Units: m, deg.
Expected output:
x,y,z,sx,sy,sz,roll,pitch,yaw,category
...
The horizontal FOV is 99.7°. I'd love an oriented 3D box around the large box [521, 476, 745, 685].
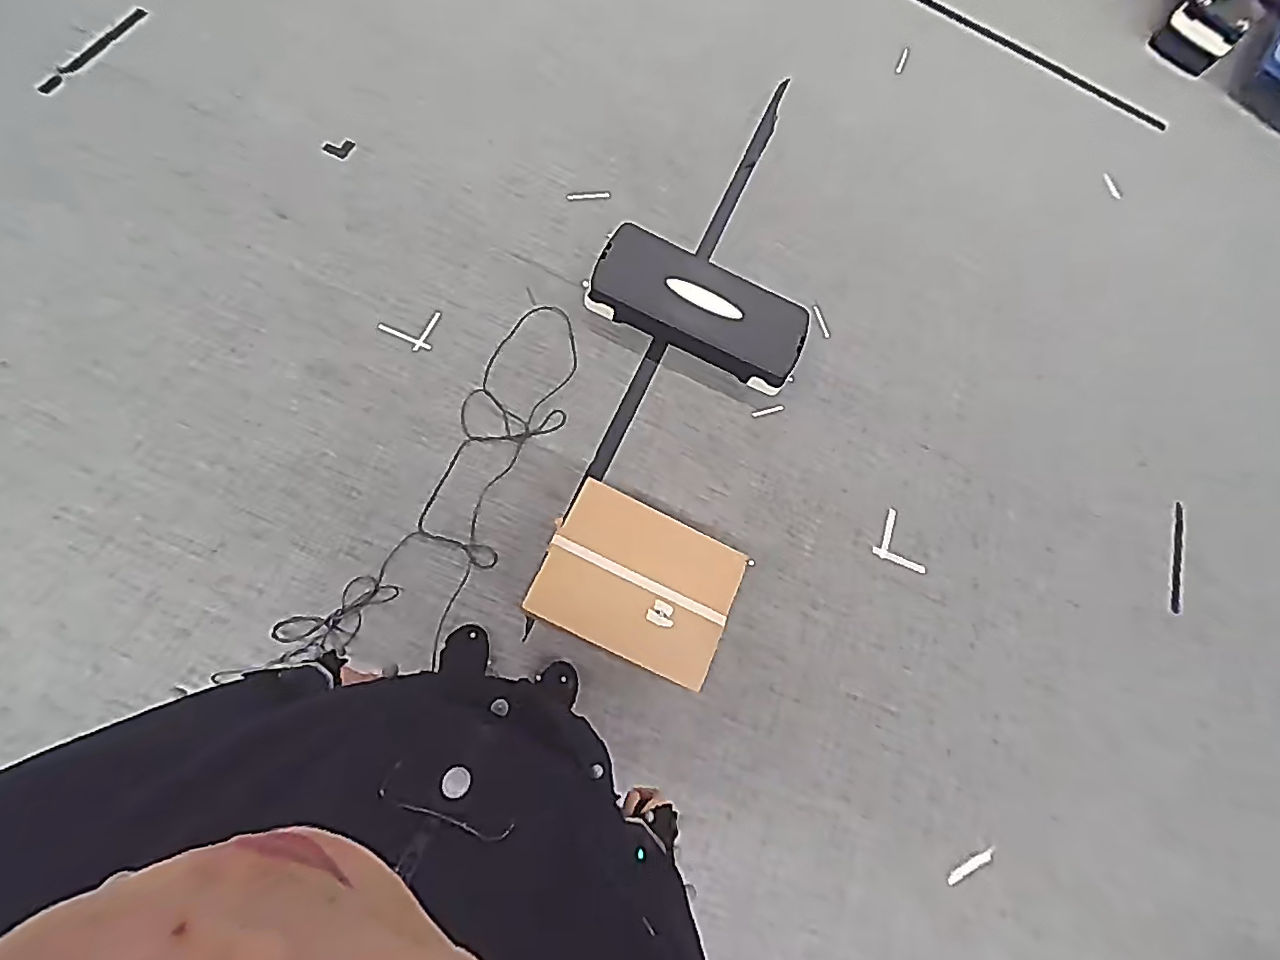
x,y,z,sx,sy,sz,roll,pitch,yaw,category
-0.033,0.243,1.276,0.408,0.320,0.320,27,72,-4,large box
